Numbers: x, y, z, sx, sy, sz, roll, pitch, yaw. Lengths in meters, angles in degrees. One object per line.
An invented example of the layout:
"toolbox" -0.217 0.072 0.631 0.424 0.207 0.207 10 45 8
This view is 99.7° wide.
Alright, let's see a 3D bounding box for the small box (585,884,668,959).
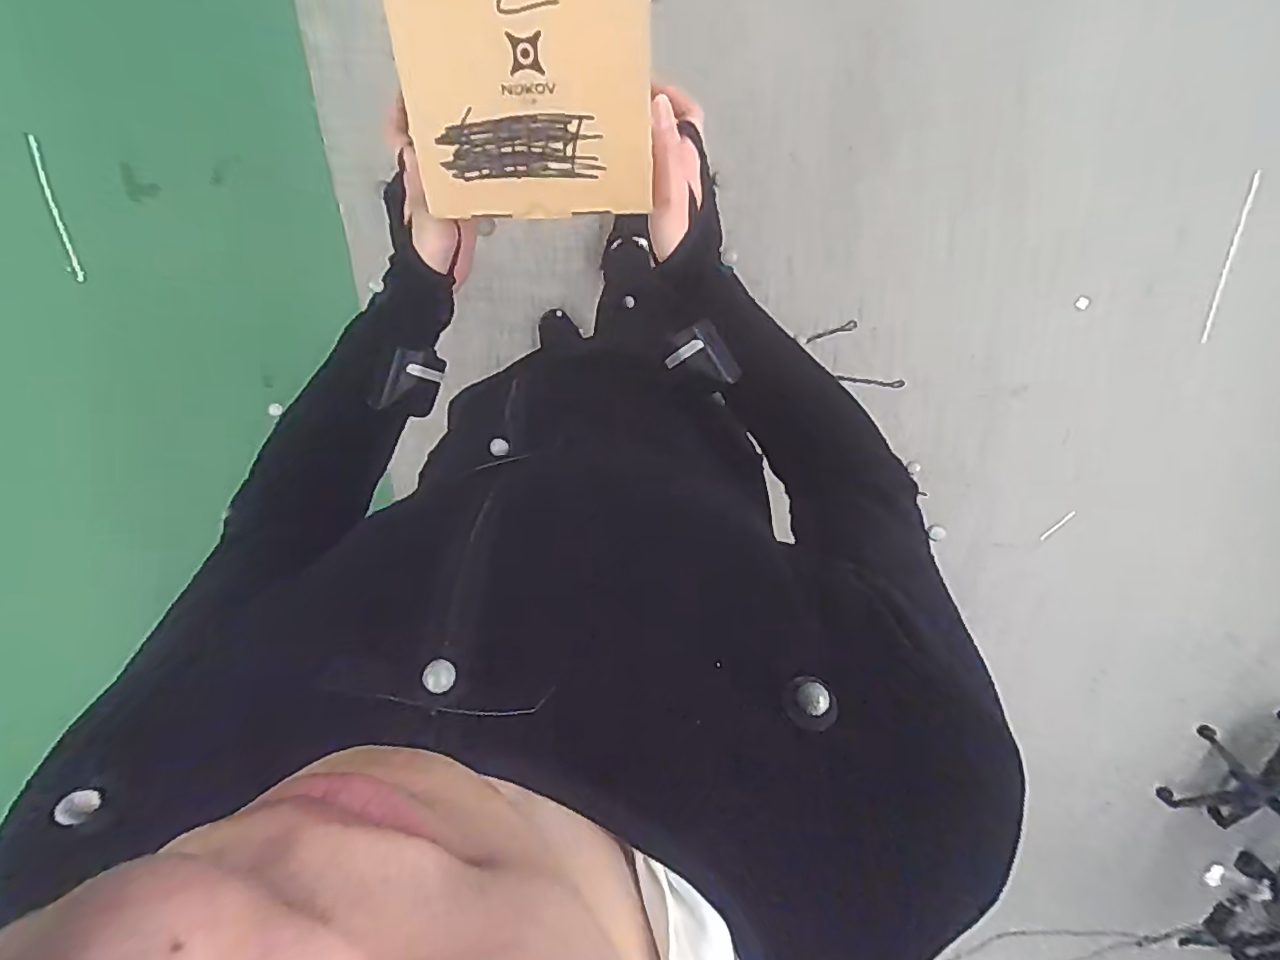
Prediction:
"small box" -0.029 0.948 1.181 0.168 0.176 0.179 -5 111 -4
